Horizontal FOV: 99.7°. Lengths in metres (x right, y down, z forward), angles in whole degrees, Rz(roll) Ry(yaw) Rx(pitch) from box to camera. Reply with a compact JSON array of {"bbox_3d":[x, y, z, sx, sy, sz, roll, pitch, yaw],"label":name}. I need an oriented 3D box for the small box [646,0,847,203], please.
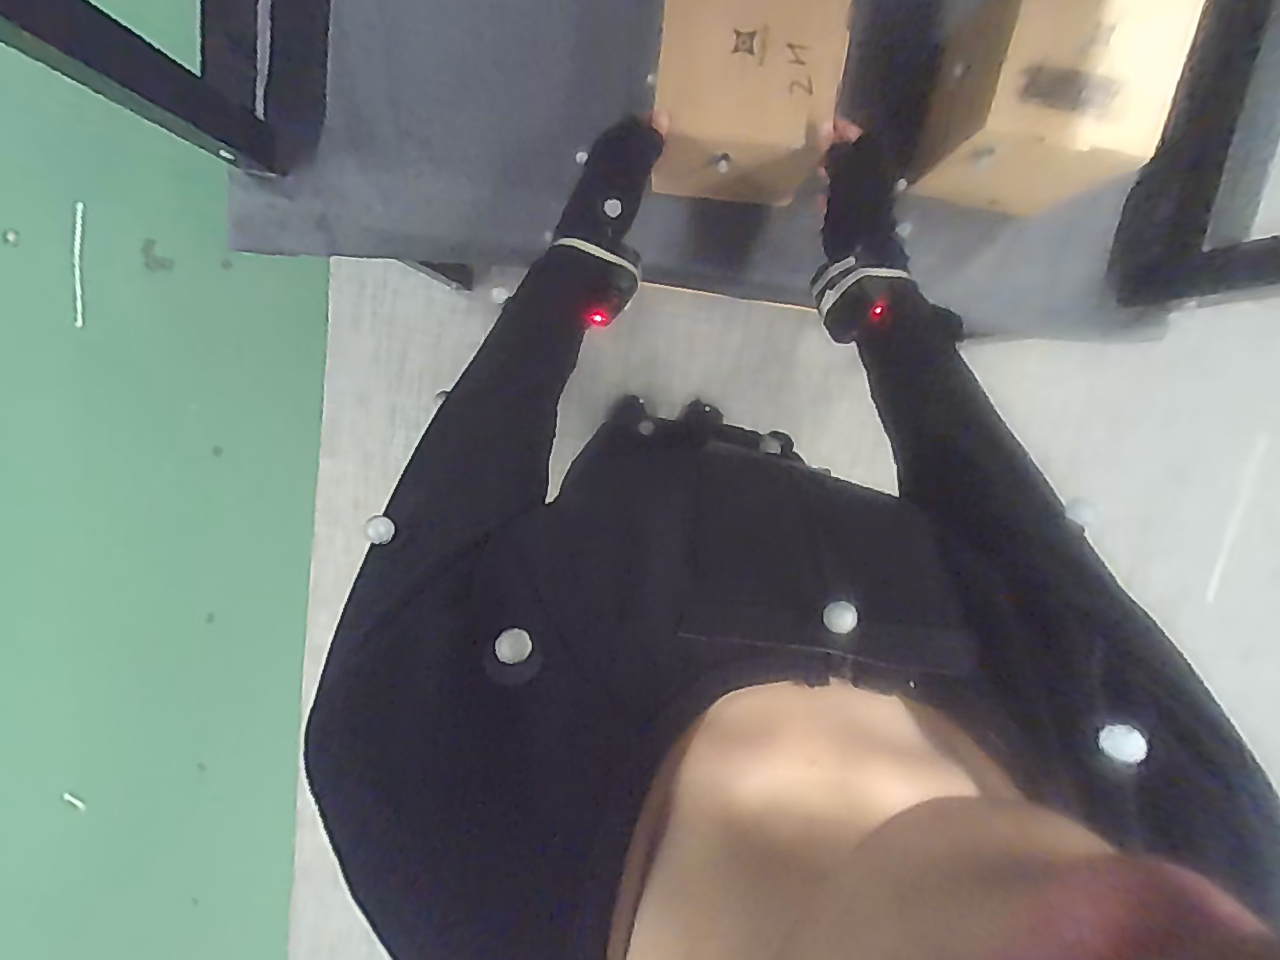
[{"bbox_3d":[0.105,-0.422,0.592,0.179,0.176,0.168,7,101,0],"label":"small box"}]
